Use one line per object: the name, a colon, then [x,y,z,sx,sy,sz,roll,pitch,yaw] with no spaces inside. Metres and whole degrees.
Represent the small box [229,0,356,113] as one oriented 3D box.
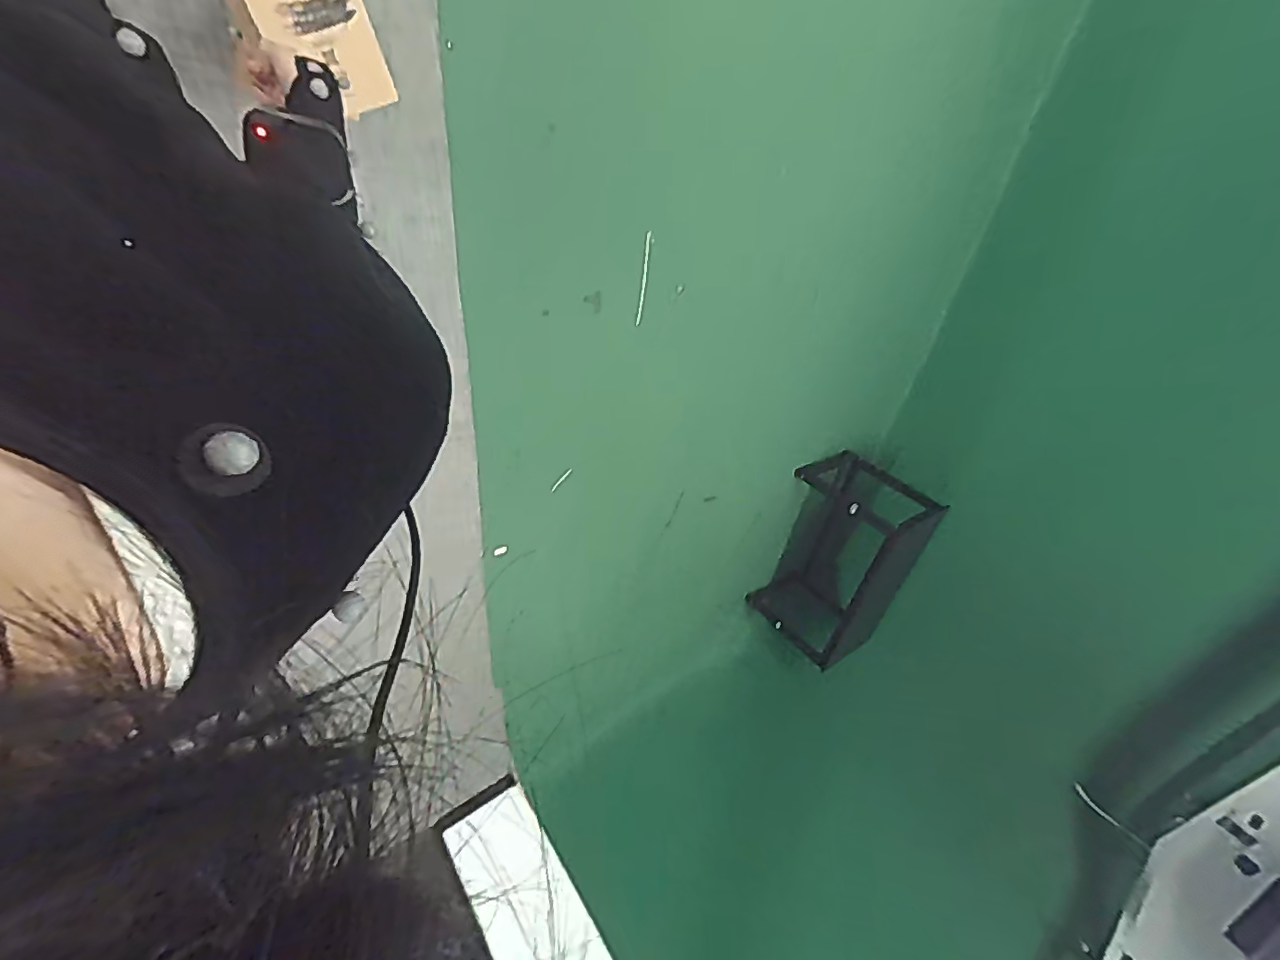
small box: [-0.646,-0.809,1.002,0.179,0.176,0.168,-9,129,-40]
